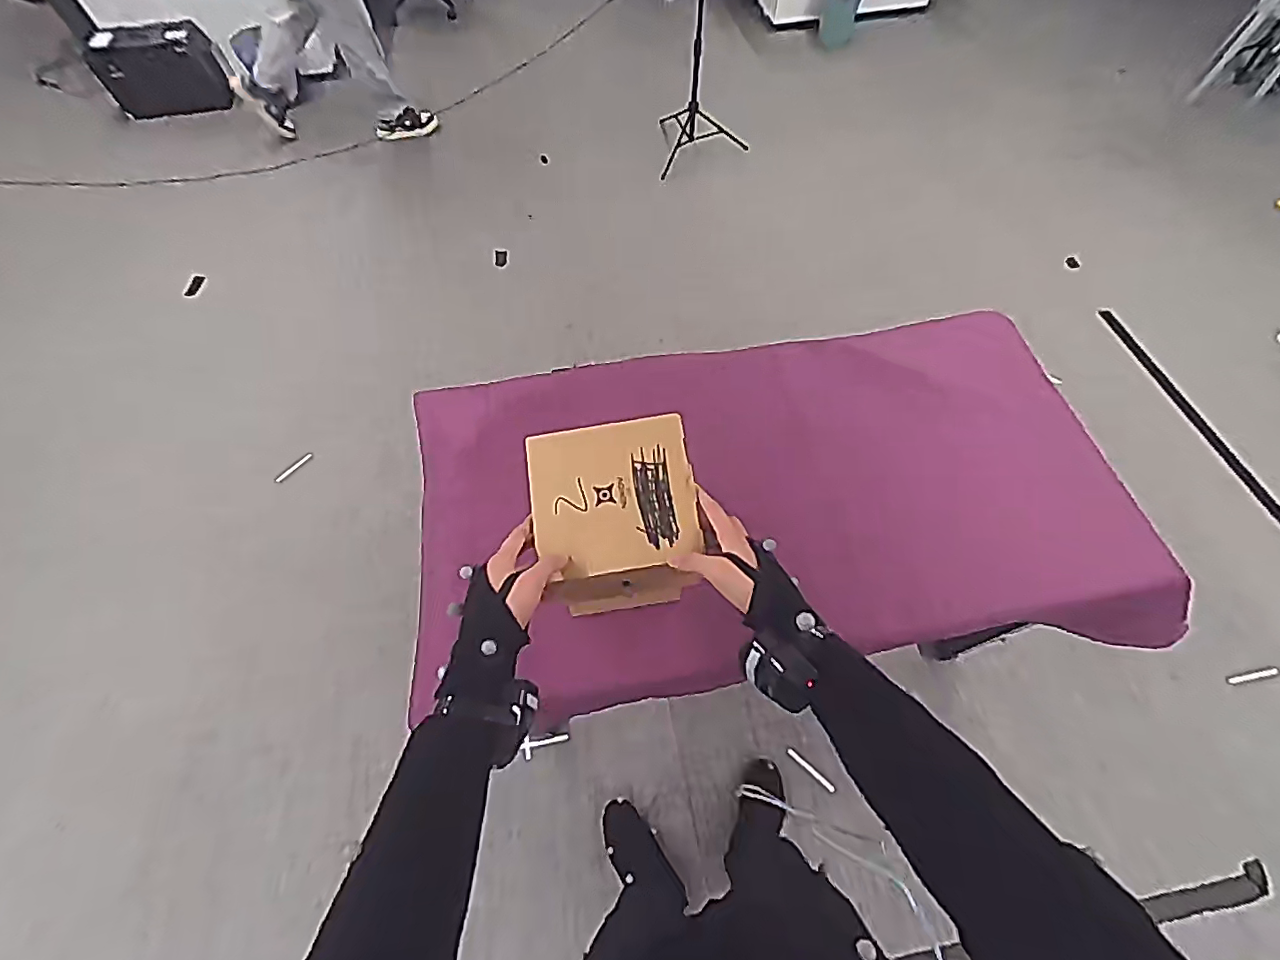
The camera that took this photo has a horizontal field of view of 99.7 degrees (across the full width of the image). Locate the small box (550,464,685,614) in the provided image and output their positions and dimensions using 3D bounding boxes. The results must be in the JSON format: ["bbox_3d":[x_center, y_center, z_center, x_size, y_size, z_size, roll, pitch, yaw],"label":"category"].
[{"bbox_3d":[-0.036,0.095,0.827,0.179,0.176,0.168,-8,61,-4],"label":"small box"}]
